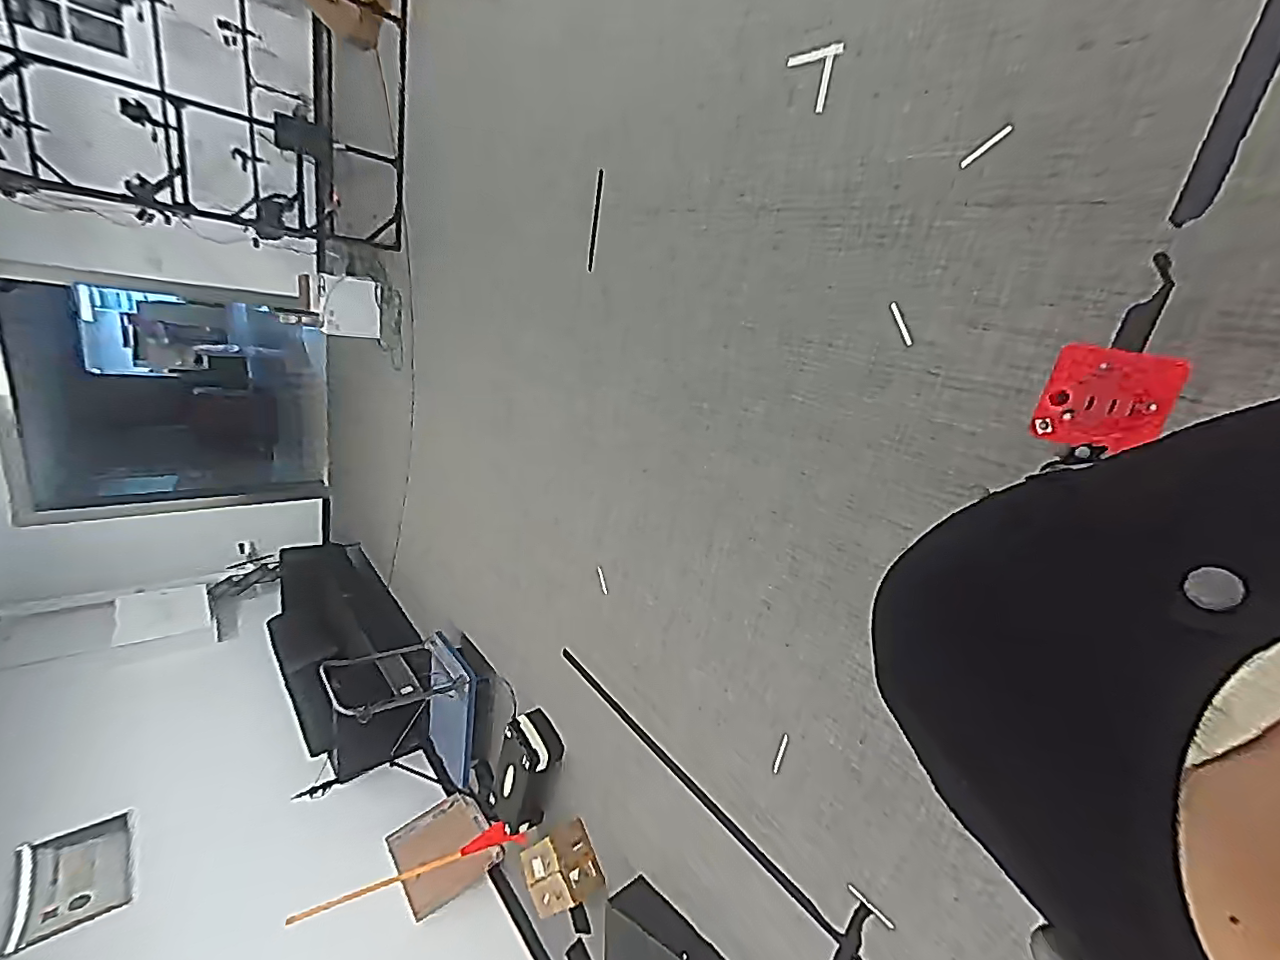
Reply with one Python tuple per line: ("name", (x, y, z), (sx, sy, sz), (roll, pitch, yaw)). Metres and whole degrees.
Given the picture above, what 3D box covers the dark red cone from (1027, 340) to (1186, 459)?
("dark red cone", (0.772, -0.148, 0.939), (0.201, 0.394, 0.202), (27, 115, 43))
